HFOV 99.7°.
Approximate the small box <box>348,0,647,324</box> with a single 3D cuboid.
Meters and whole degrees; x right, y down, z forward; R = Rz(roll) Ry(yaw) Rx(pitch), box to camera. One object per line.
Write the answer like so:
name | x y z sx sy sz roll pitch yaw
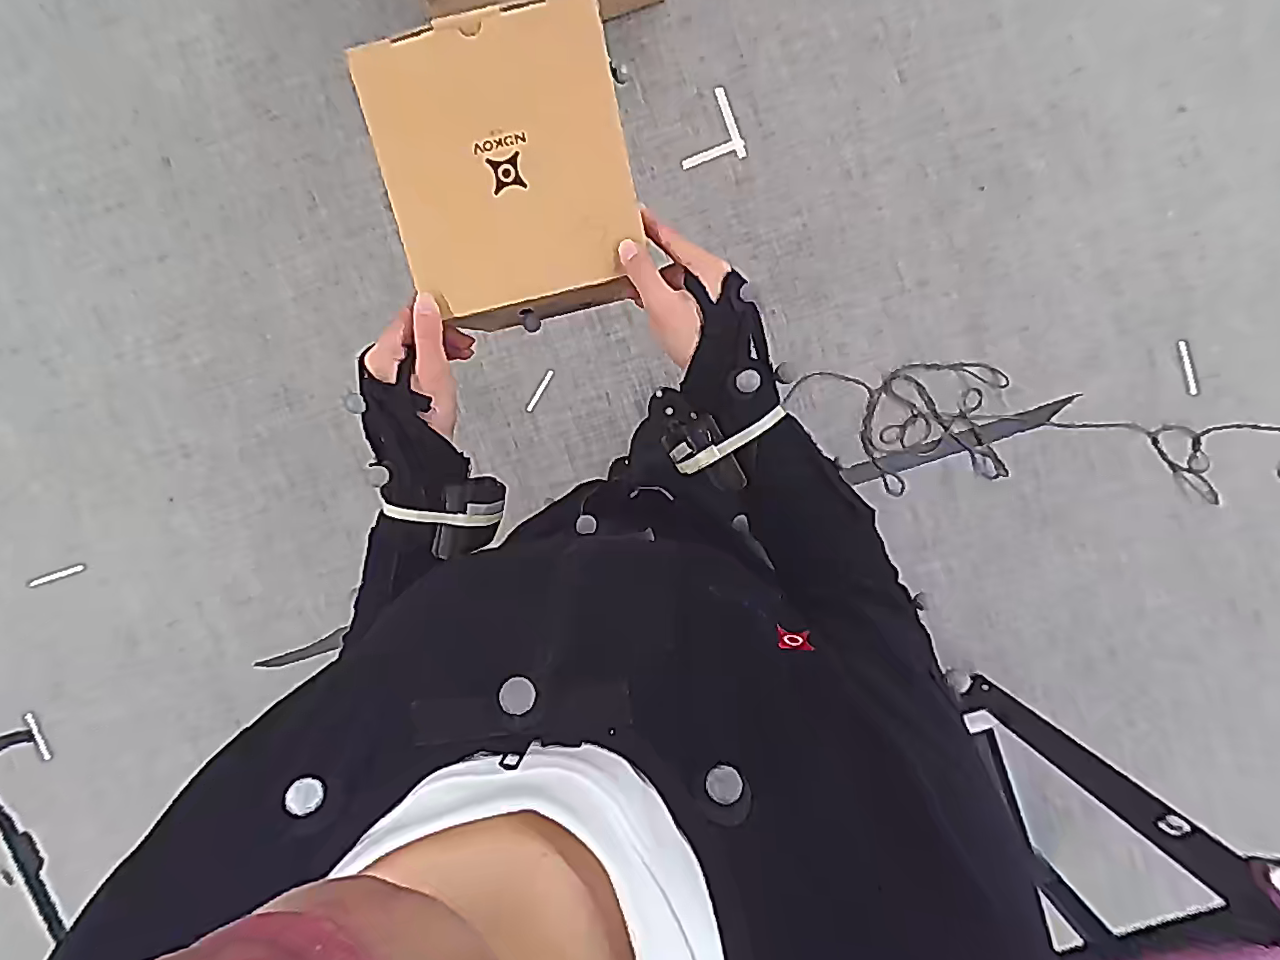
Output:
small box | -0.089 -0.230 0.436 0.168 0.176 0.179 -13 101 3
